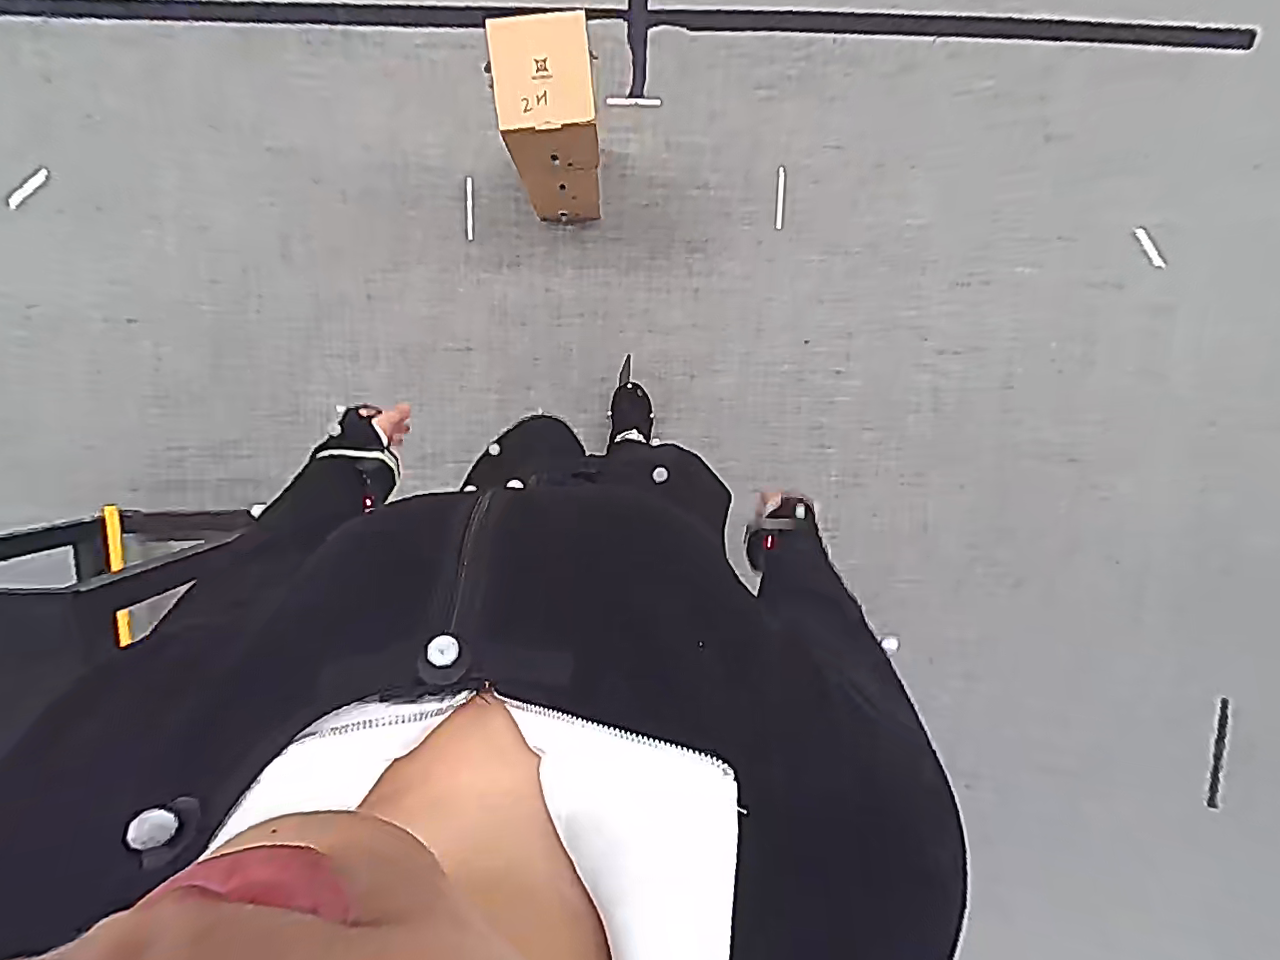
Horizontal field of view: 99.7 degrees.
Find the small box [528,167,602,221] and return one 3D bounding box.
[{"bbox_3d":[-0.178,-0.743,1.300,0.168,0.176,0.179,-1,99,-1],"label":"small box"}]

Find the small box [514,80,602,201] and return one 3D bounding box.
[{"bbox_3d":[-0.168,-0.706,1.139,0.168,0.176,0.179,-1,98,-1],"label":"small box"}]

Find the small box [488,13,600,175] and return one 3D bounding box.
[{"bbox_3d":[-0.164,-0.684,0.975,0.168,0.176,0.179,-6,97,0],"label":"small box"}]
